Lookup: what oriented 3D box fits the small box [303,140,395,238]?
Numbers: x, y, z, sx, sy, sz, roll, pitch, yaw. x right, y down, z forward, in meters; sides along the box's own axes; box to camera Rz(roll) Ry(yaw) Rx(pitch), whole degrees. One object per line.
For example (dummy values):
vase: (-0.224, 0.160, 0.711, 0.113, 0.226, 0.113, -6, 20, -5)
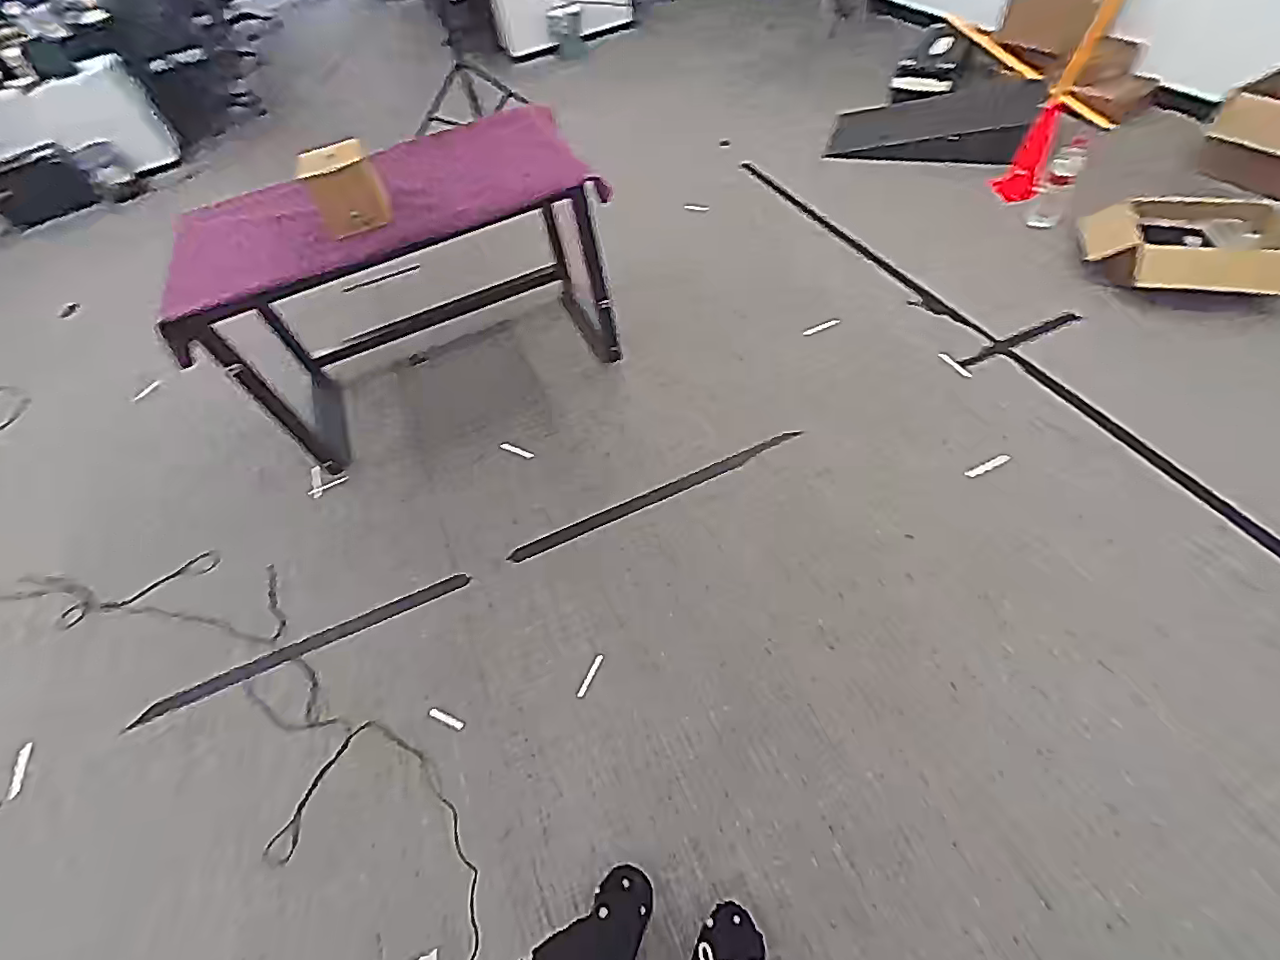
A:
small box: (-0.806, -0.808, 1.507, 0.168, 0.176, 0.179, -22, 54, -6)
